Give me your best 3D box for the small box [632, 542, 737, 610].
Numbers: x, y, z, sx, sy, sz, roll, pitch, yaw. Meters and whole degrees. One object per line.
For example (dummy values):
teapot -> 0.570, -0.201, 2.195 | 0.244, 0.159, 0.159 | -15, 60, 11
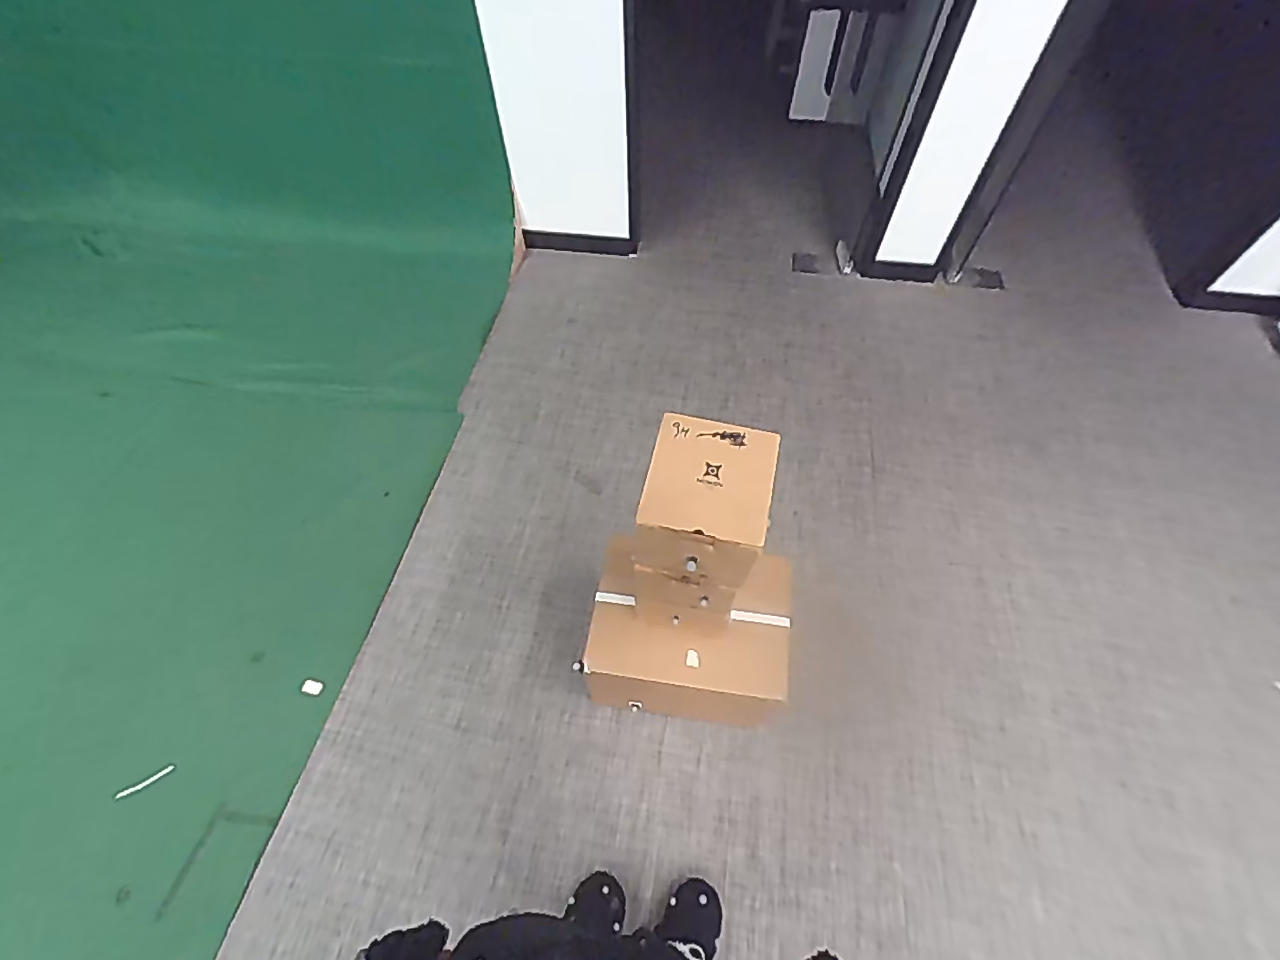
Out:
small box -> 0.086, 0.111, 0.935 | 0.168, 0.176, 0.179 | 10, 62, 5

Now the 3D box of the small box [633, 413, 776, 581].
small box -> 0.092, 0.032, 0.792 | 0.168, 0.176, 0.179 | 12, 64, 7

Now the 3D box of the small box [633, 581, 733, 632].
small box -> 0.094, 0.190, 1.074 | 0.179, 0.176, 0.168 | 13, 62, 9
